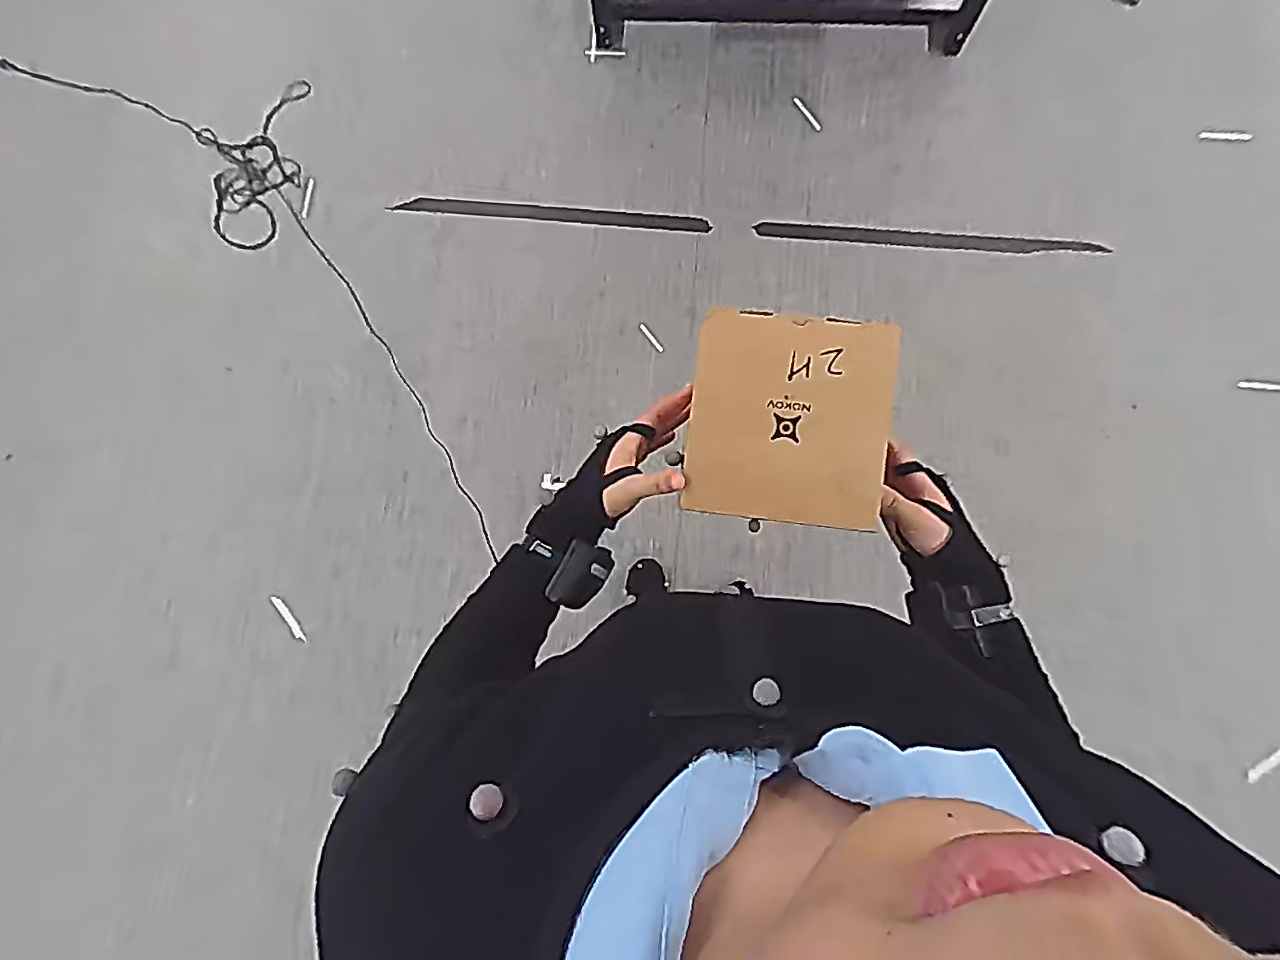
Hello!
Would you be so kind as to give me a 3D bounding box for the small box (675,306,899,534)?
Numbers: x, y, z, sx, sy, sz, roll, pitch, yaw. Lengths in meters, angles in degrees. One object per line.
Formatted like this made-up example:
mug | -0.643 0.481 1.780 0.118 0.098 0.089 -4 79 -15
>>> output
small box | 0.127 -0.049 0.529 0.168 0.176 0.179 7 88 3
